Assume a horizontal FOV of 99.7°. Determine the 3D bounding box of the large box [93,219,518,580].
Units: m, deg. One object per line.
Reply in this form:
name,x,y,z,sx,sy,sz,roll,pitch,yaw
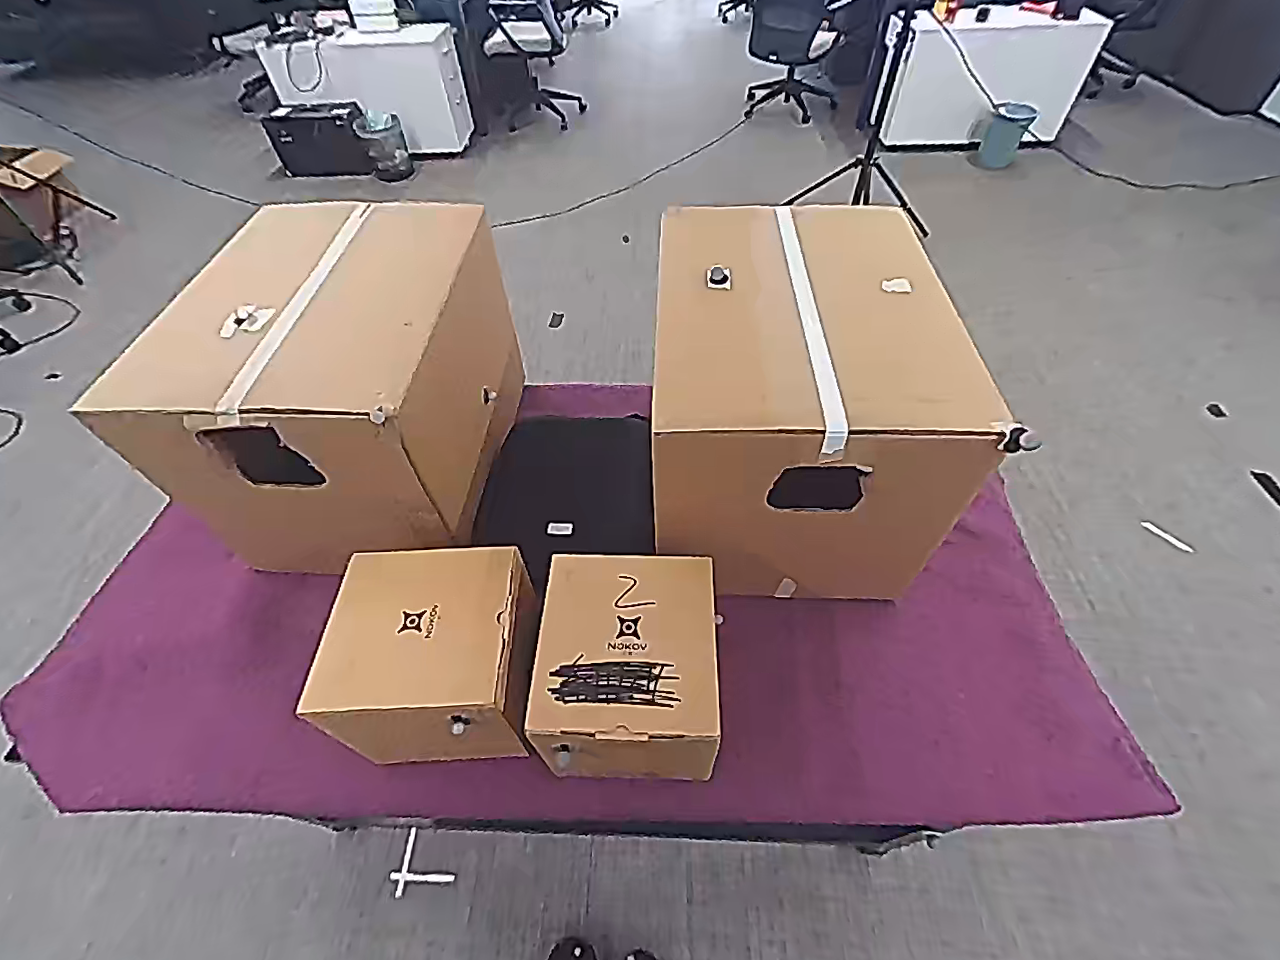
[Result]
large box,-0.371,-0.110,0.750,0.320,0.320,0.408,0,53,2
